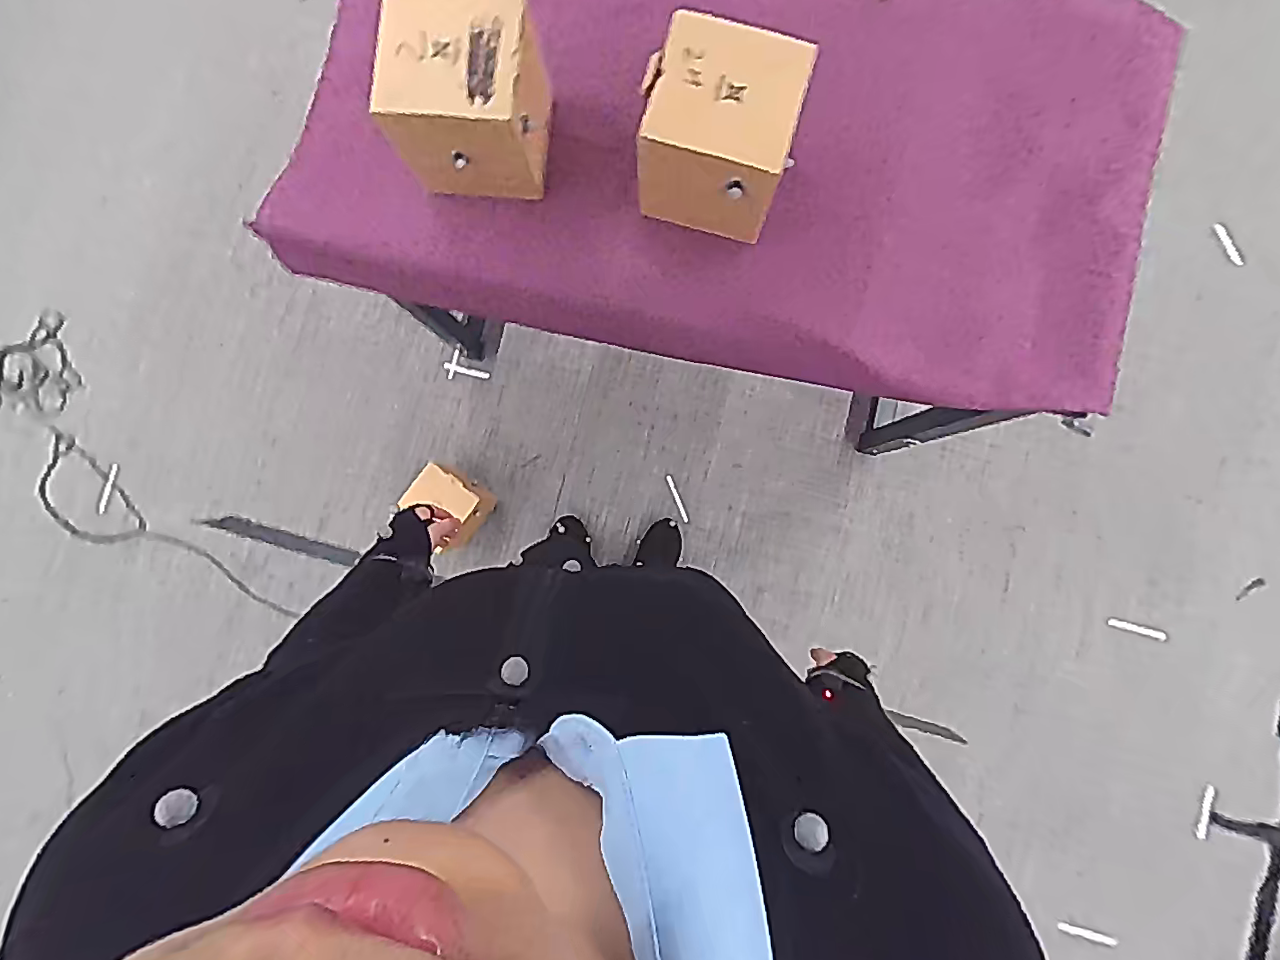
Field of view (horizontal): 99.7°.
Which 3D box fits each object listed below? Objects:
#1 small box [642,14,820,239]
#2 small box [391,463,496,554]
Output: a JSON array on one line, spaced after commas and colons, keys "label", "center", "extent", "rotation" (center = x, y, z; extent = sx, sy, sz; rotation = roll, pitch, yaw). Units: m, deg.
[{"label": "small box", "center": [0.109, -0.448, 0.714], "extent": [0.179, 0.176, 0.168], "rotation": [16, 86, 3]}, {"label": "small box", "center": [-0.510, 0.076, 1.437], "extent": [0.168, 0.176, 0.179], "rotation": [37, 88, 3]}]
